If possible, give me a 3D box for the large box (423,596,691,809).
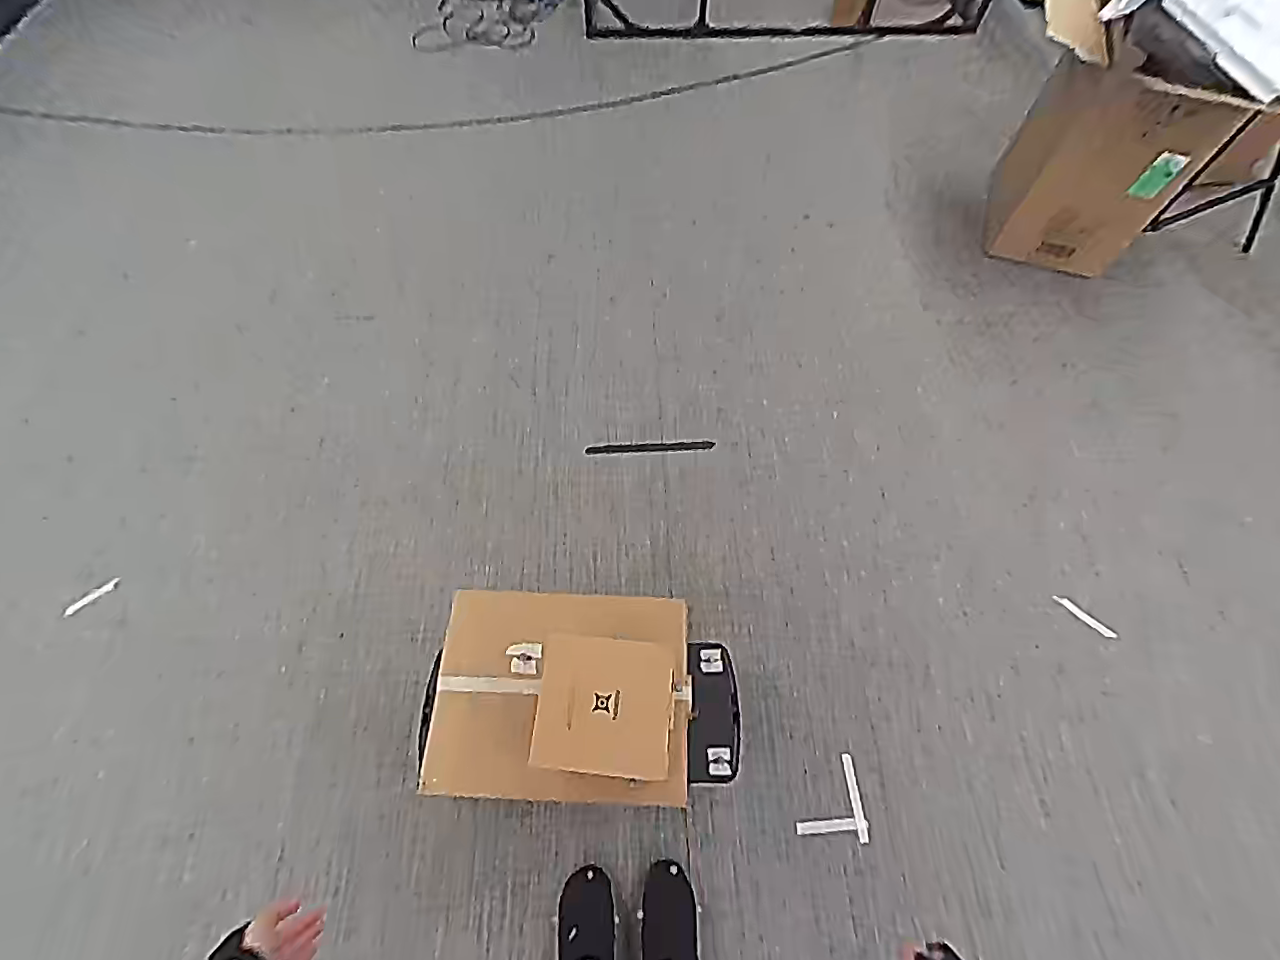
[{"bbox_3d":[-0.118,0.406,0.994,0.408,0.320,0.320,2,62,2],"label":"large box"}]

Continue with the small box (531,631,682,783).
[{"bbox_3d":[-0.038,0.320,0.762,0.179,0.176,0.168,5,63,3],"label":"small box"}]

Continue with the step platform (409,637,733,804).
[{"bbox_3d":[-0.139,0.527,1.200,0.684,0.204,0.286,4,62,3],"label":"step platform"}]
